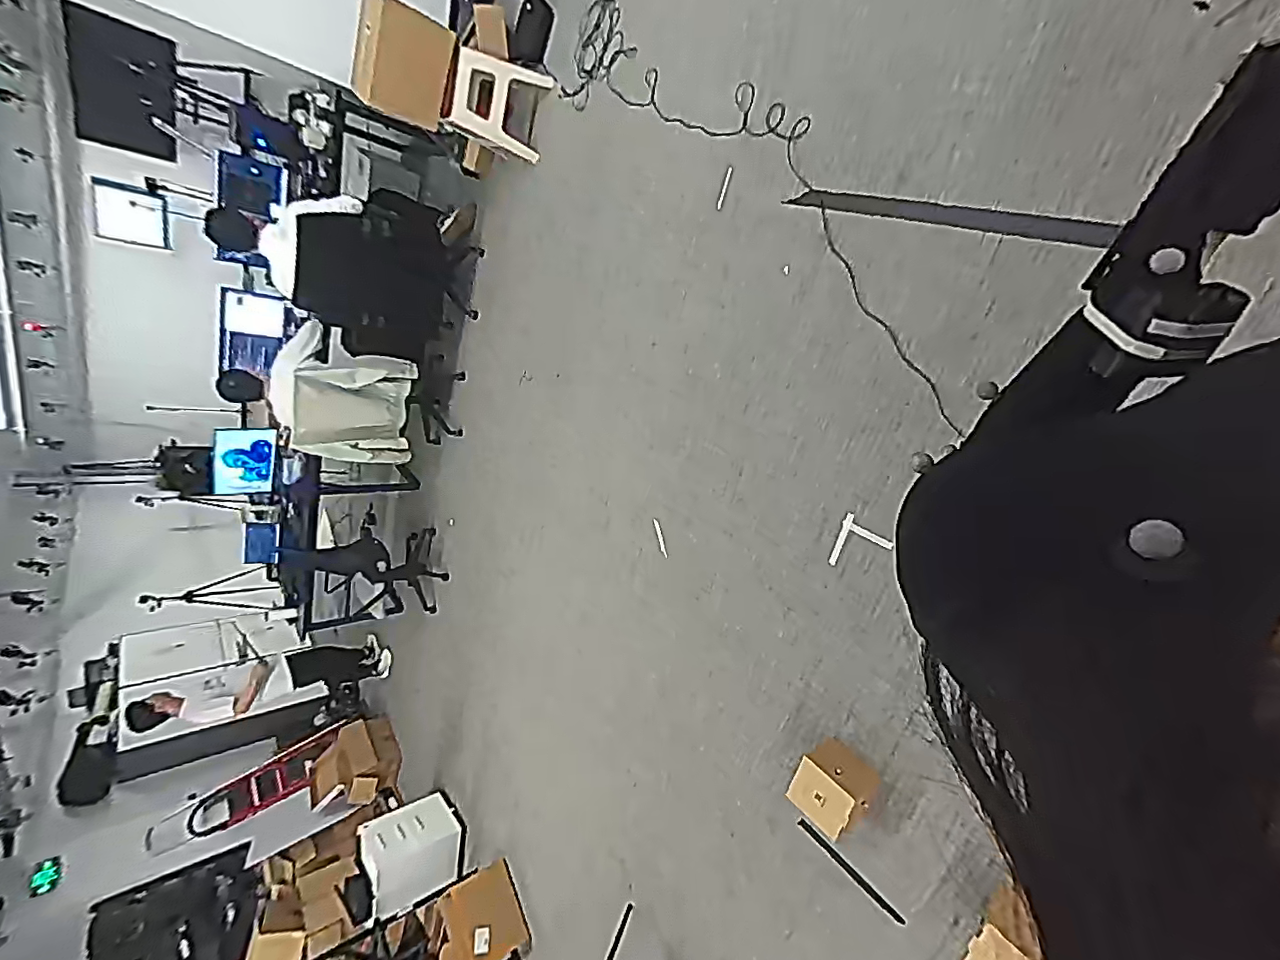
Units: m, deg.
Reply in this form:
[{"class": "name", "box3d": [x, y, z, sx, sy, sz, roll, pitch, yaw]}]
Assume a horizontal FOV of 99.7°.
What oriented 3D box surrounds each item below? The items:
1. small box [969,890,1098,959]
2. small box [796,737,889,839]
[{"class": "small box", "box3d": [0.925, 1.117, 1.271, 0.179, 0.176, 0.168, 33, 117, 42]}, {"class": "small box", "box3d": [0.606, 0.908, 1.613, 0.179, 0.176, 0.168, 33, 115, 43]}]
